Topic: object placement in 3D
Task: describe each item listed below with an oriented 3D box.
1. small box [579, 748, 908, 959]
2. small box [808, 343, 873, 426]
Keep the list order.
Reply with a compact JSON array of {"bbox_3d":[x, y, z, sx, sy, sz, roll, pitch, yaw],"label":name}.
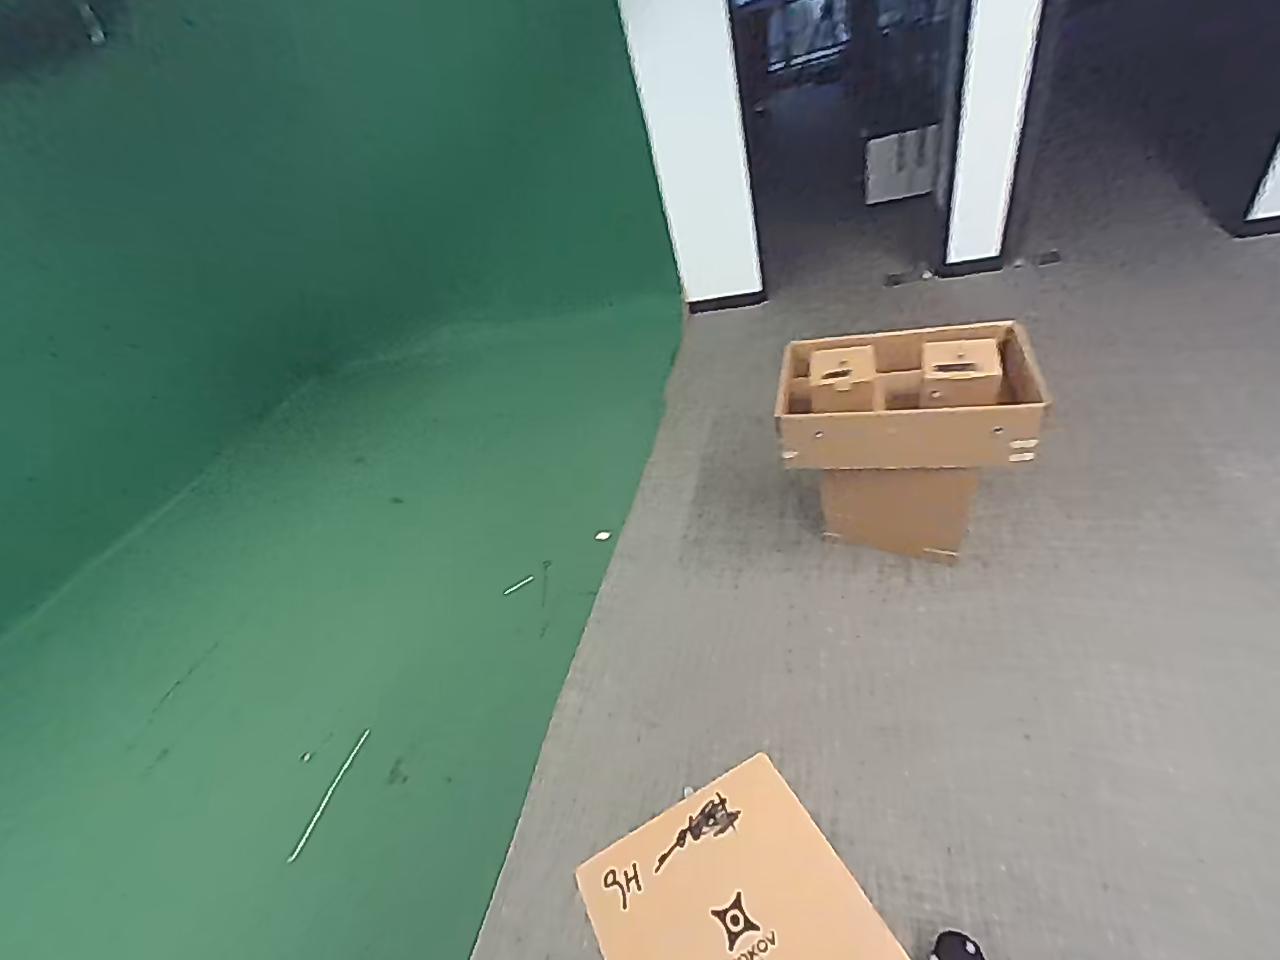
[{"bbox_3d":[0.075,0.346,0.397,0.168,0.176,0.179,-23,42,-15],"label":"small box"},{"bbox_3d":[0.575,-0.265,1.545,0.168,0.176,0.179,-2,43,21],"label":"small box"}]
